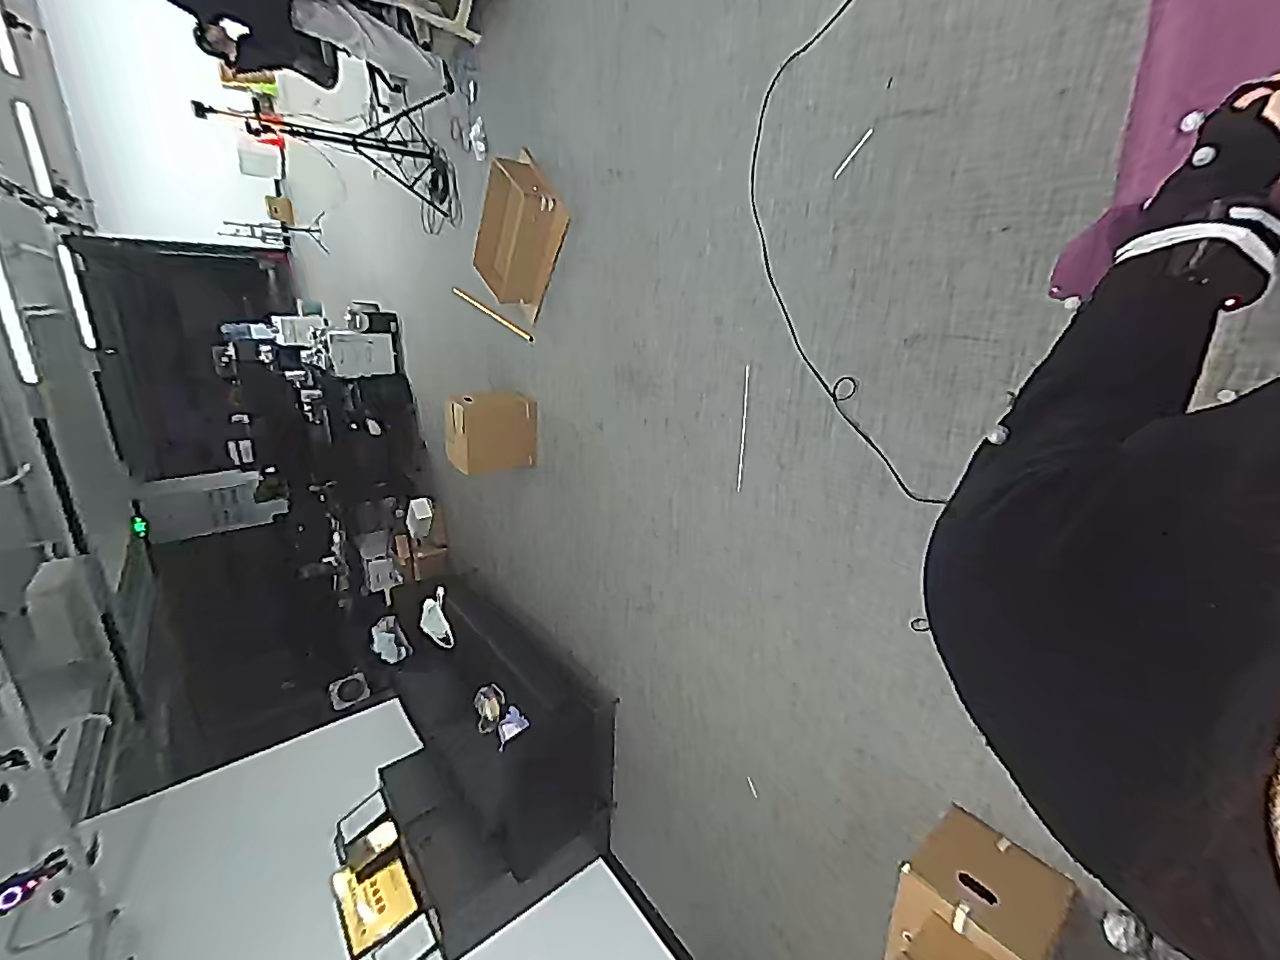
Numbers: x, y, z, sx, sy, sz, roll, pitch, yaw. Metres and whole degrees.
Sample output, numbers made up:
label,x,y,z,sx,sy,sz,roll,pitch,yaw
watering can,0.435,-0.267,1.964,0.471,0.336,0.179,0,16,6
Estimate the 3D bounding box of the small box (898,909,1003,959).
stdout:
label,x,y,z,sx,sy,sz,roll,pitch,yaw
small box,0.754,1.210,1.326,0.179,0.176,0.168,18,115,47
